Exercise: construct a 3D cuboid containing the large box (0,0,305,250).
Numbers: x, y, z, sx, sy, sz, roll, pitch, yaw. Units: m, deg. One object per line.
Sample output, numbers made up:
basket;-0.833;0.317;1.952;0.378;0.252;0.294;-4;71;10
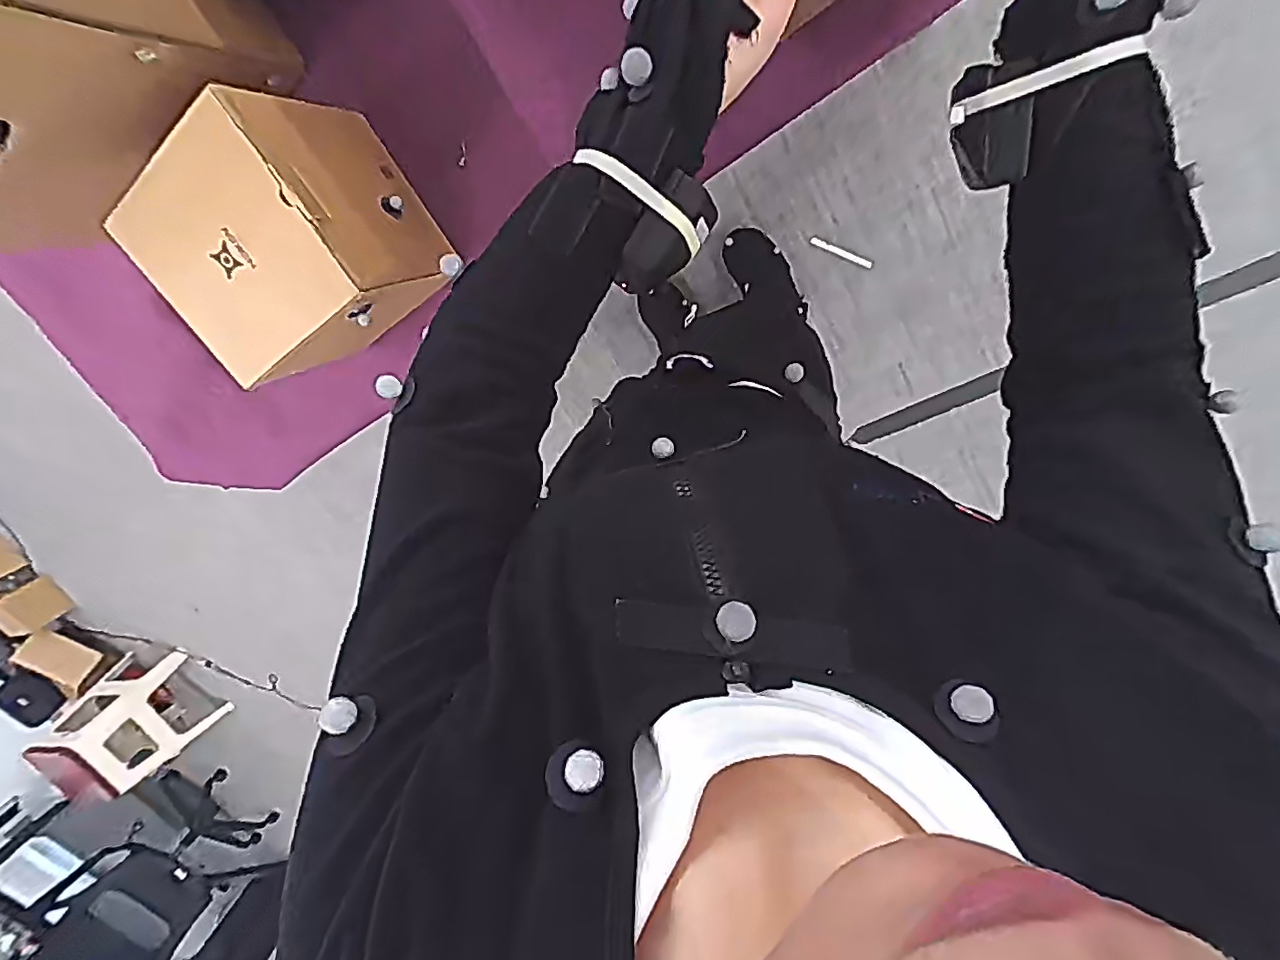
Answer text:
large box;-0.568;-0.428;0.381;0.320;0.320;0.408;-23;113;24
